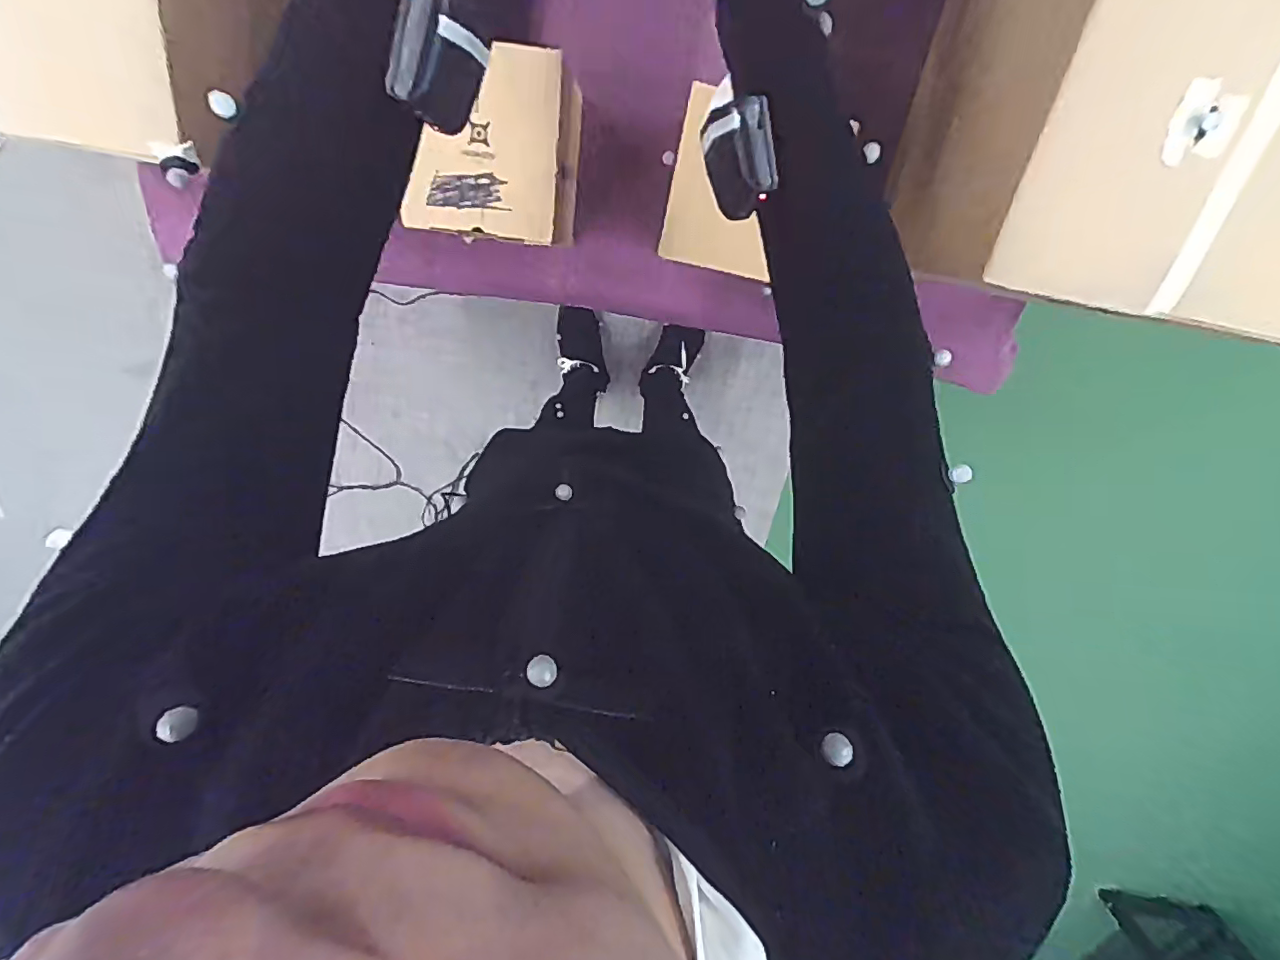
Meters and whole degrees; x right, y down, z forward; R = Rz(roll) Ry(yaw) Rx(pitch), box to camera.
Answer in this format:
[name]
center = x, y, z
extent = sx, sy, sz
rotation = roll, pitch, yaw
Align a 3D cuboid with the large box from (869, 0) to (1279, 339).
[large box]
center = 0.483, -0.390, 0.526
extent = 0.320, 0.320, 0.408
rotation = 10, 116, -2
